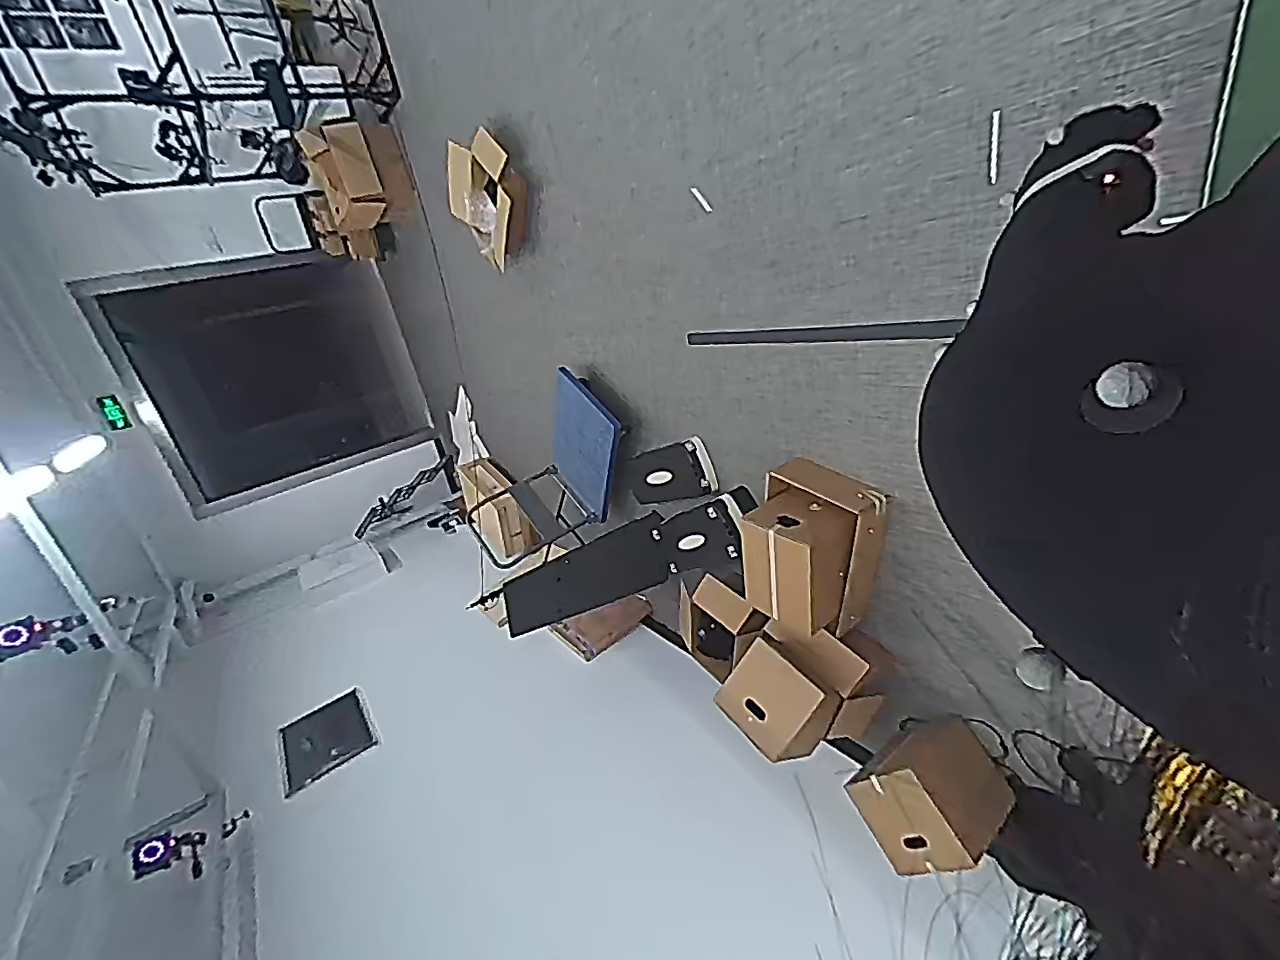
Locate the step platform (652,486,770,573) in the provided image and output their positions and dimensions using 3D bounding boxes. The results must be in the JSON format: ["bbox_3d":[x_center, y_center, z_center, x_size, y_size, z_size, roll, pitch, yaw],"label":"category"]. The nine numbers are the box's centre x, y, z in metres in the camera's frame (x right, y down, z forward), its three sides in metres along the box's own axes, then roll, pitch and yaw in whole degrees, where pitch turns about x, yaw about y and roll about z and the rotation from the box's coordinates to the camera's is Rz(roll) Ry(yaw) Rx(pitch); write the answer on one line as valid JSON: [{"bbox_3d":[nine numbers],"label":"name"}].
[{"bbox_3d":[0.320,0.262,2.667,0.286,0.204,0.684,63,149,3],"label":"step platform"}]
